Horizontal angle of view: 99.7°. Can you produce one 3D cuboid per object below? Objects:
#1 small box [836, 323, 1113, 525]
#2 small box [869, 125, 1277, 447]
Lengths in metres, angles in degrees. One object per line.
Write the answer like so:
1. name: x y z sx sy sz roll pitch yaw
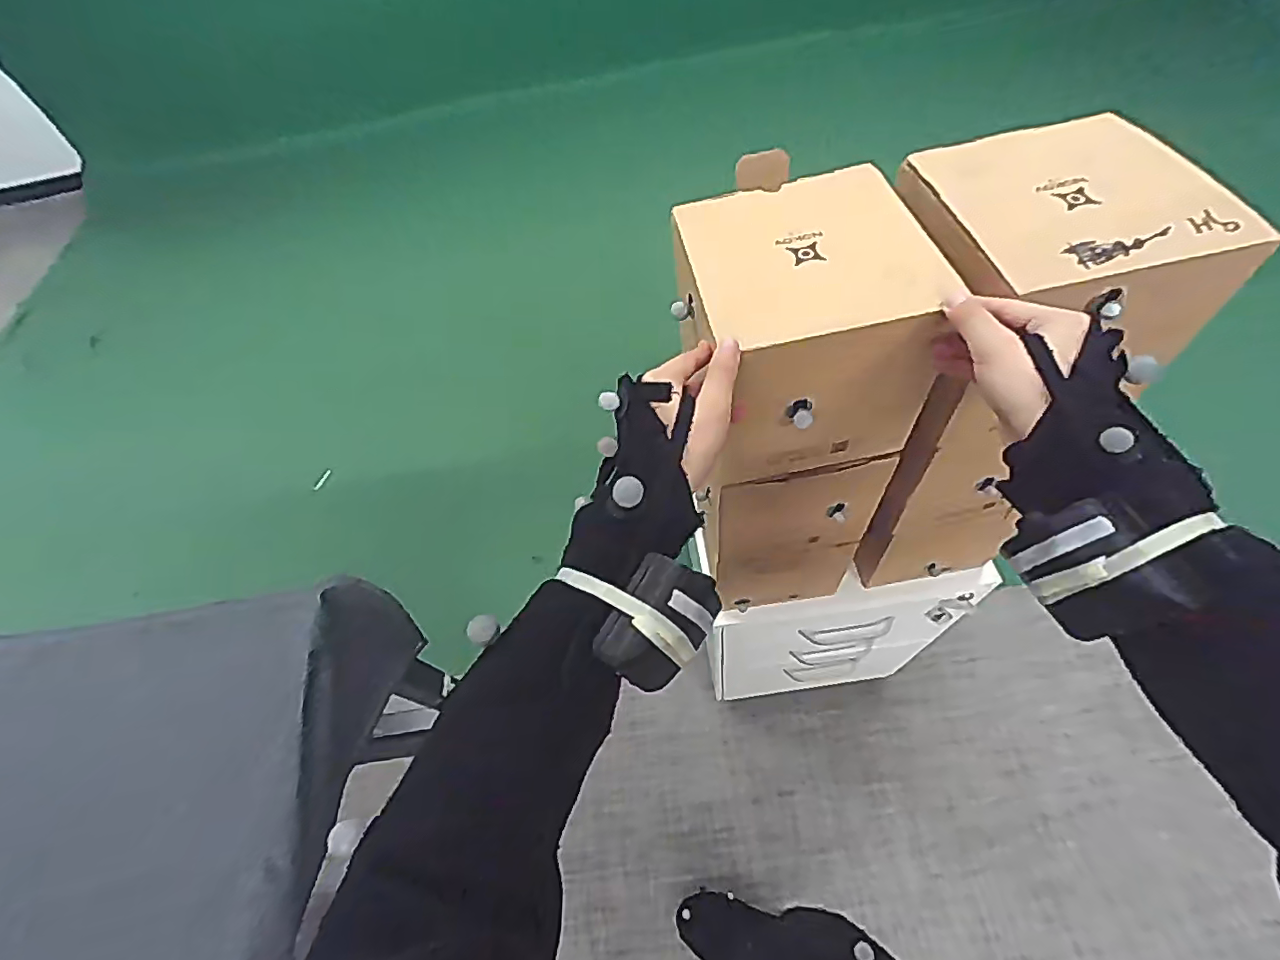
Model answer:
1. small box: 0.332 -0.066 0.585 0.168 0.176 0.179 -12 57 0
2. small box: 0.313 -0.154 0.449 0.168 0.176 0.179 -11 56 2
